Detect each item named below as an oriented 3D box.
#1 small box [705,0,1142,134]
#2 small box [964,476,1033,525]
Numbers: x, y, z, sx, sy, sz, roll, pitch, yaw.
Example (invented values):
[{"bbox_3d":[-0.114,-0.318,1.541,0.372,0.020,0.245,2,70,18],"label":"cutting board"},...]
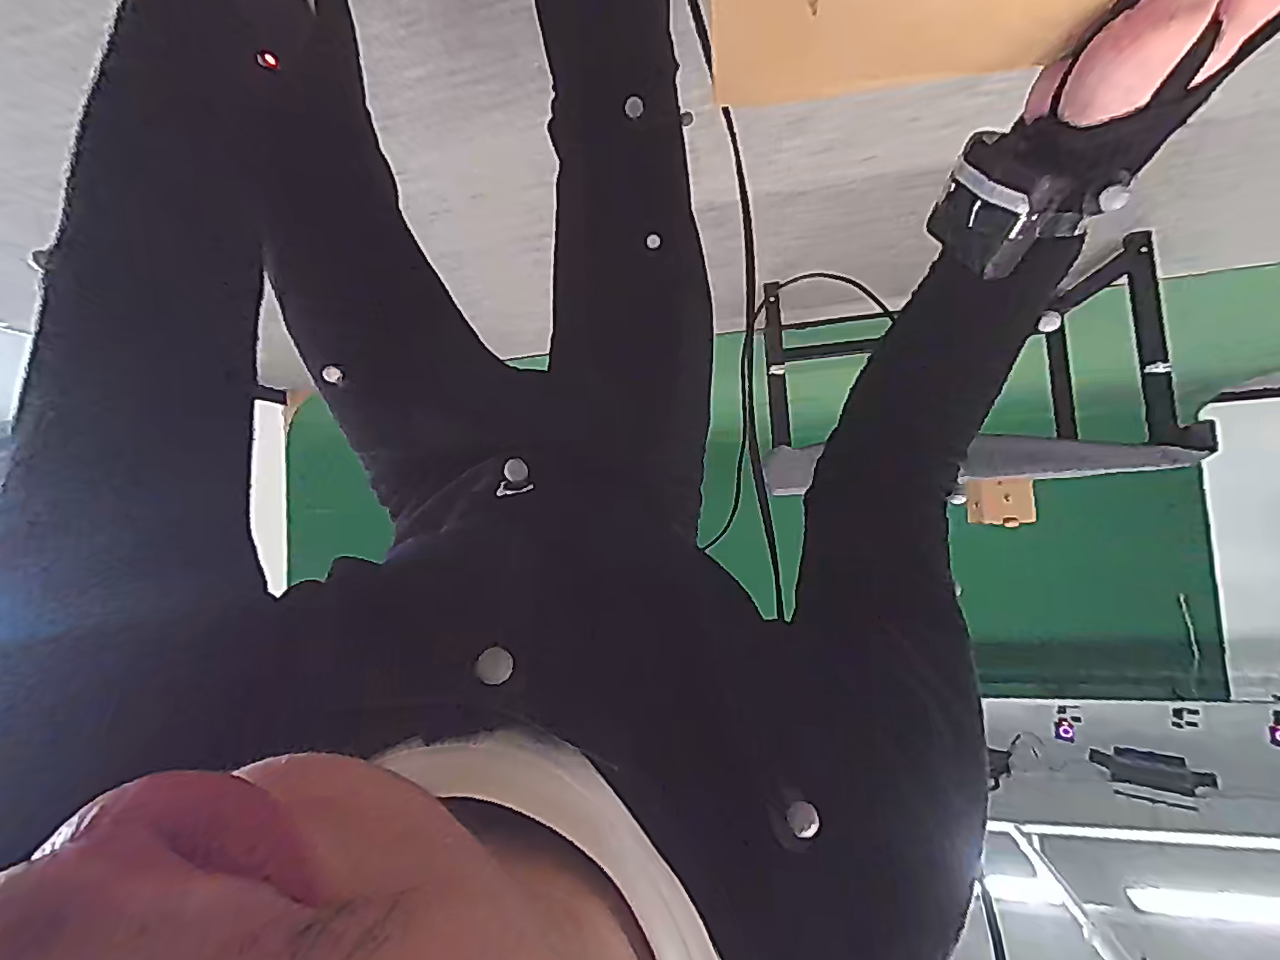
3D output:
[{"bbox_3d":[0.113,-0.276,0.208,0.179,0.176,0.168,0,172,7],"label":"small box"},{"bbox_3d":[1.333,0.077,2.026,0.168,0.176,0.179,-6,175,17],"label":"small box"}]
